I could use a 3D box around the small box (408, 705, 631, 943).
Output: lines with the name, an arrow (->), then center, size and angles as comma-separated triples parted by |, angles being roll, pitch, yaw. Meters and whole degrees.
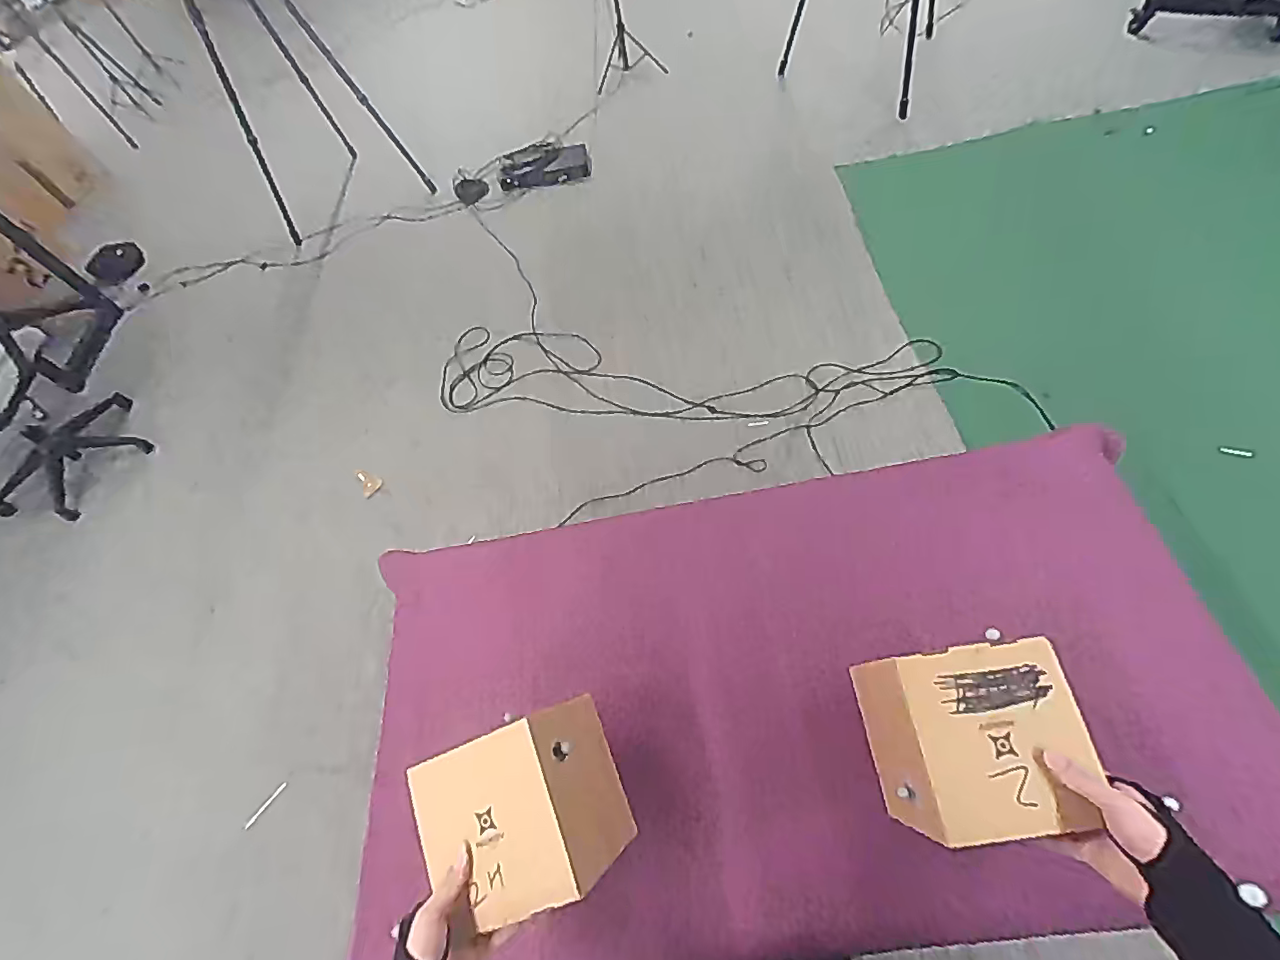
small box -> -0.133, 0.380, 0.635 | 0.168, 0.176, 0.179 | -28, 69, 12
